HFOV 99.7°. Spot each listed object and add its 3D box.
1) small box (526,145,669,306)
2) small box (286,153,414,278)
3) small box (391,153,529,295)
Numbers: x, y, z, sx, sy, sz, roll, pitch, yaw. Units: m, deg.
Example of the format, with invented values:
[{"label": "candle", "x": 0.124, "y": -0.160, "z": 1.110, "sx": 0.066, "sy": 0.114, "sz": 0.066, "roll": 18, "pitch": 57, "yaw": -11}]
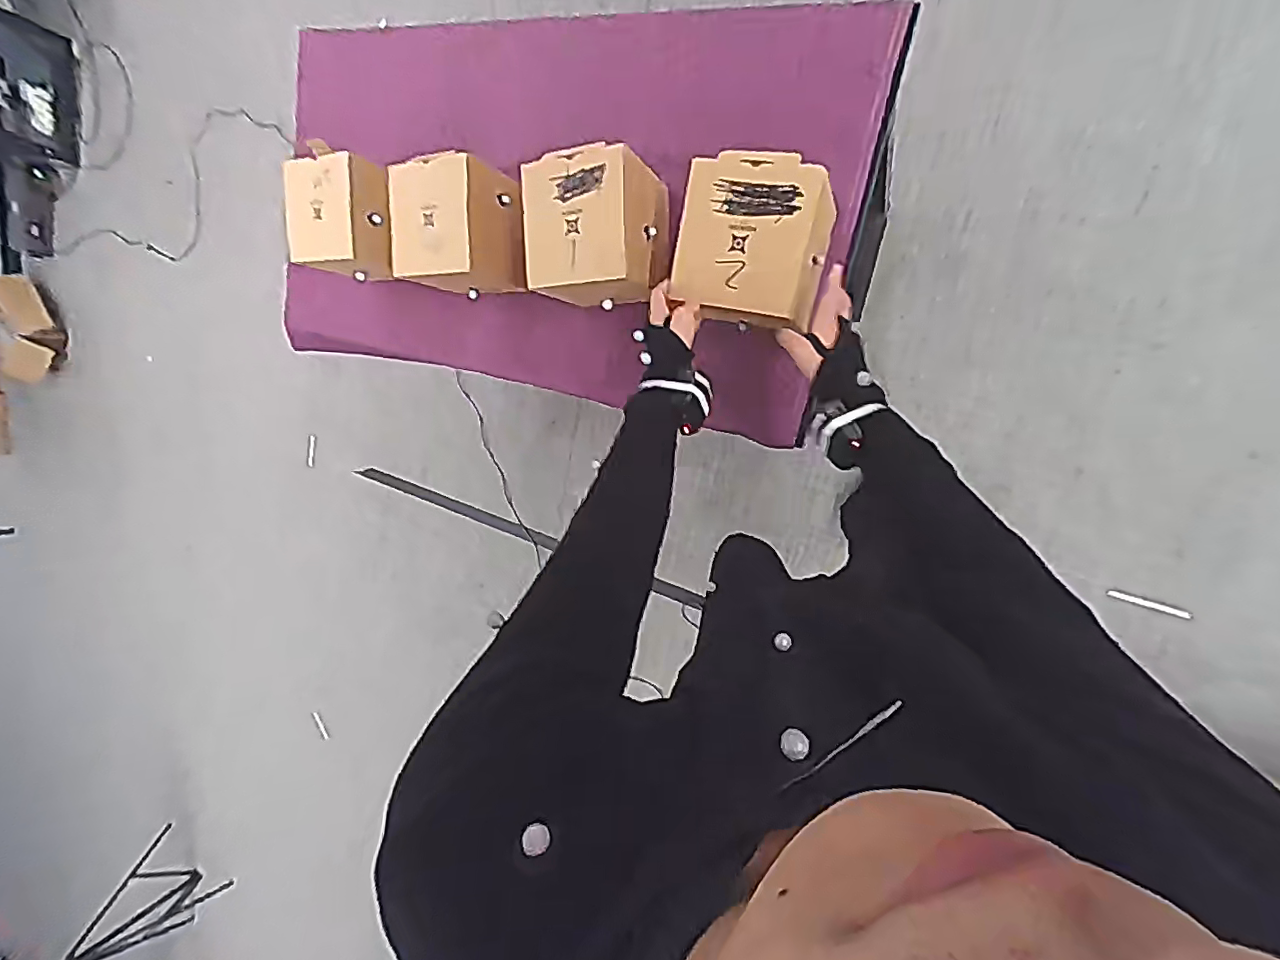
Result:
[{"label": "small box", "x": -0.059, "y": -0.376, "z": 0.835, "sx": 0.168, "sy": 0.176, "sz": 0.179, "roll": 3, "pitch": 99, "yaw": 23}, {"label": "small box", "x": -0.531, "y": -0.486, "z": 1.024, "sx": 0.168, "sy": 0.176, "sz": 0.179, "roll": 7, "pitch": 100, "yaw": 22}, {"label": "small box", "x": -0.302, "y": -0.428, "z": 0.934, "sx": 0.168, "sy": 0.176, "sz": 0.179, "roll": 7, "pitch": 100, "yaw": 23}]
